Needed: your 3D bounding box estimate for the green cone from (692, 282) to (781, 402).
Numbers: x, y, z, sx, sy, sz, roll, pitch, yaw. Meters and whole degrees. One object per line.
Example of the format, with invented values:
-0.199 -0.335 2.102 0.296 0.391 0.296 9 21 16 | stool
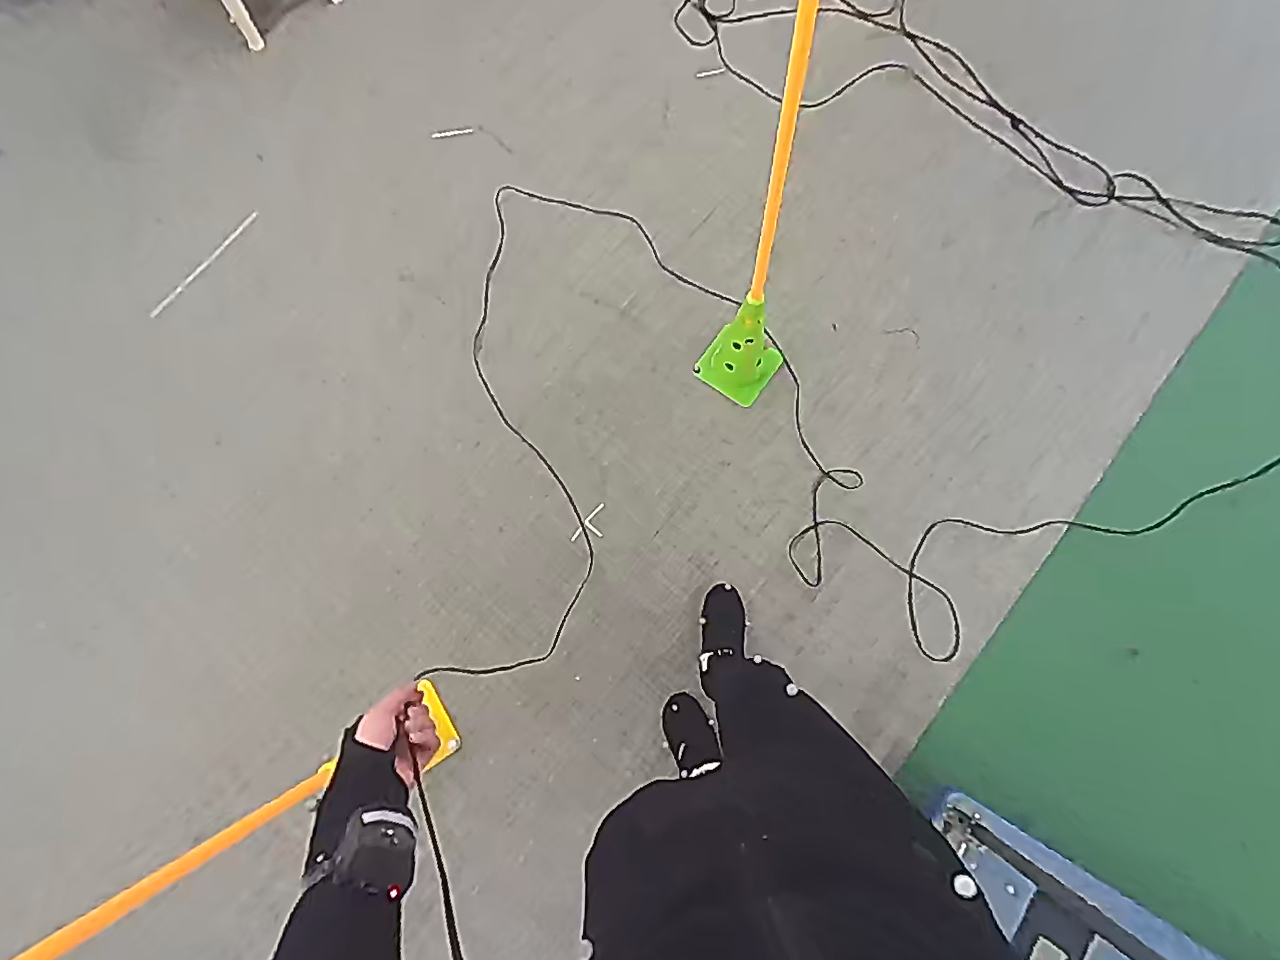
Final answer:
0.270 -0.384 1.392 0.200 0.368 0.202 34 80 10 | green cone
